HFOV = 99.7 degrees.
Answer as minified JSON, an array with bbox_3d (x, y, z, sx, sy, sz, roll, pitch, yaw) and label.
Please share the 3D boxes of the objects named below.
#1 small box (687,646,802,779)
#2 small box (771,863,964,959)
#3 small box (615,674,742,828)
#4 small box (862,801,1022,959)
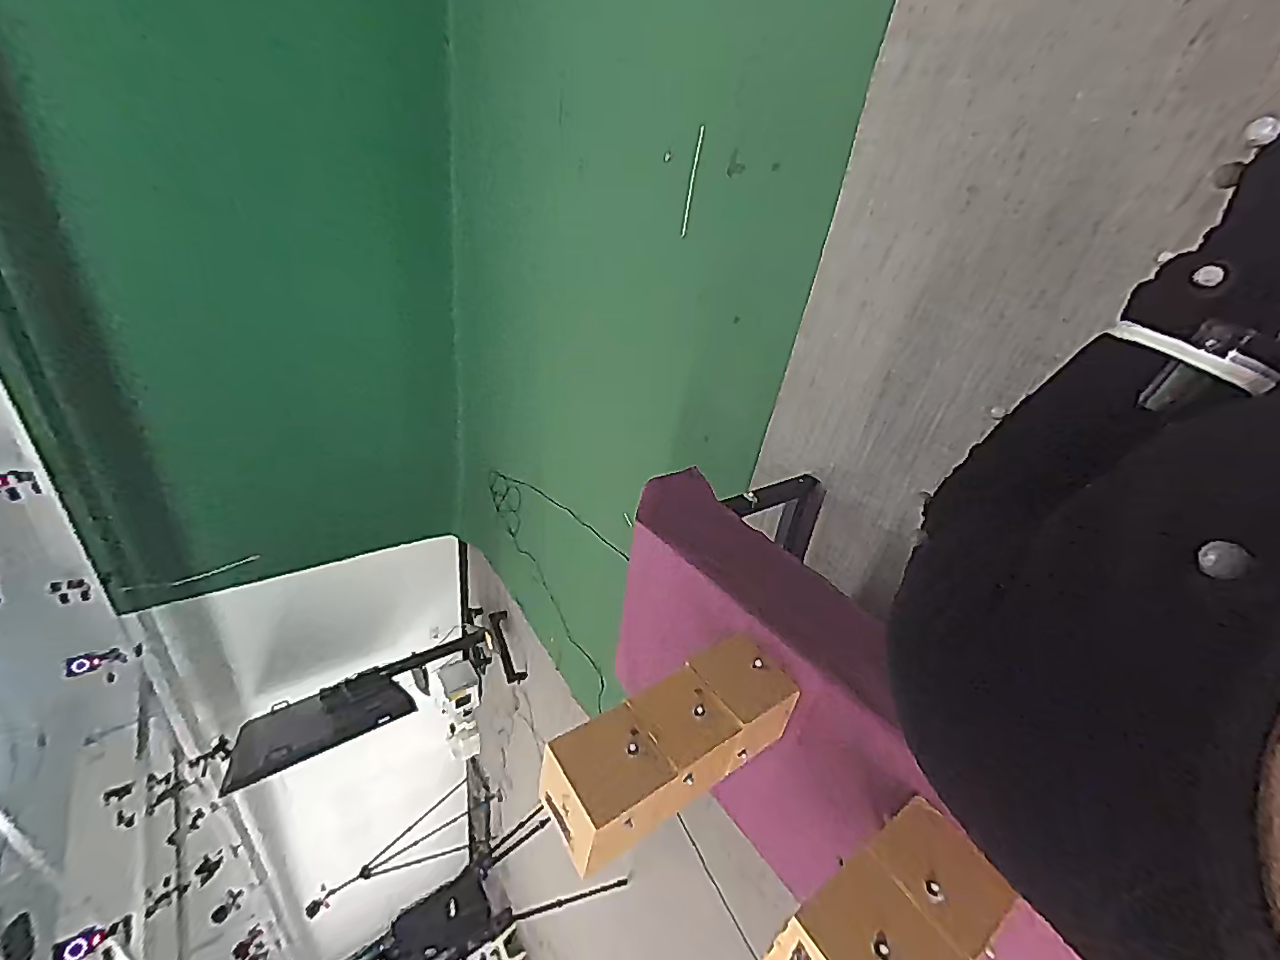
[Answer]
[{"bbox_3d":[0.204,0.474,1.138,0.179,0.176,0.168,40,132,41],"label":"small box"},{"bbox_3d":[0.319,0.692,0.766,0.179,0.176,0.168,39,130,39],"label":"small box"},{"bbox_3d":[0.073,0.517,1.050,0.168,0.176,0.179,40,131,40],"label":"small box"},{"bbox_3d":[0.453,0.660,0.854,0.179,0.176,0.168,41,132,41],"label":"small box"}]
